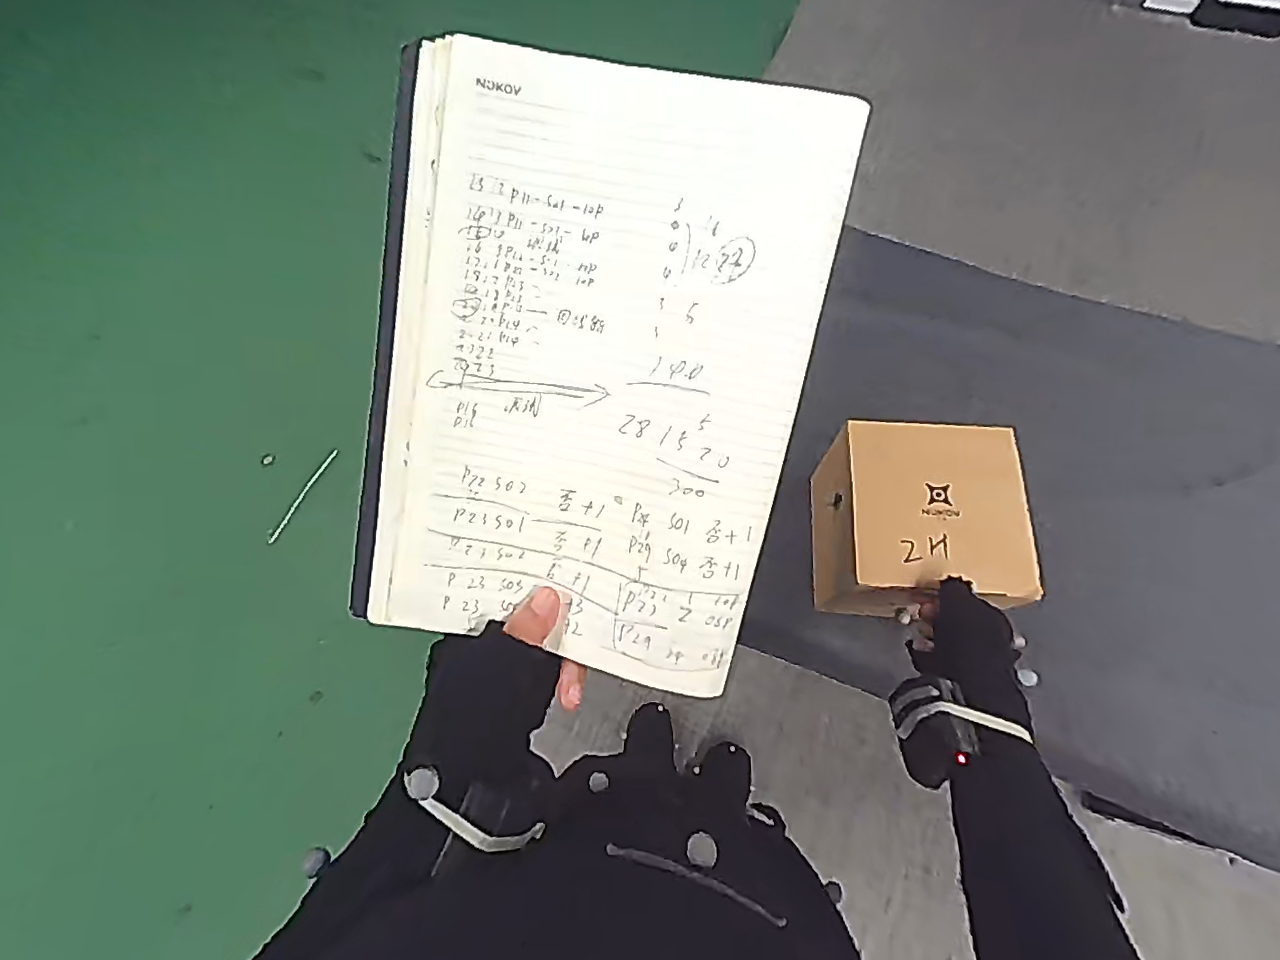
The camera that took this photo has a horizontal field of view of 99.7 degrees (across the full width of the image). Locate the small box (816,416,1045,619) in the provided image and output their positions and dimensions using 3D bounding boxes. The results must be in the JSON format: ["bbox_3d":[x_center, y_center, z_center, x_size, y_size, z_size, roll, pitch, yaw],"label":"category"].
[{"bbox_3d":[0.298,0.048,0.601,0.168,0.176,0.179,3,68,6],"label":"small box"}]
